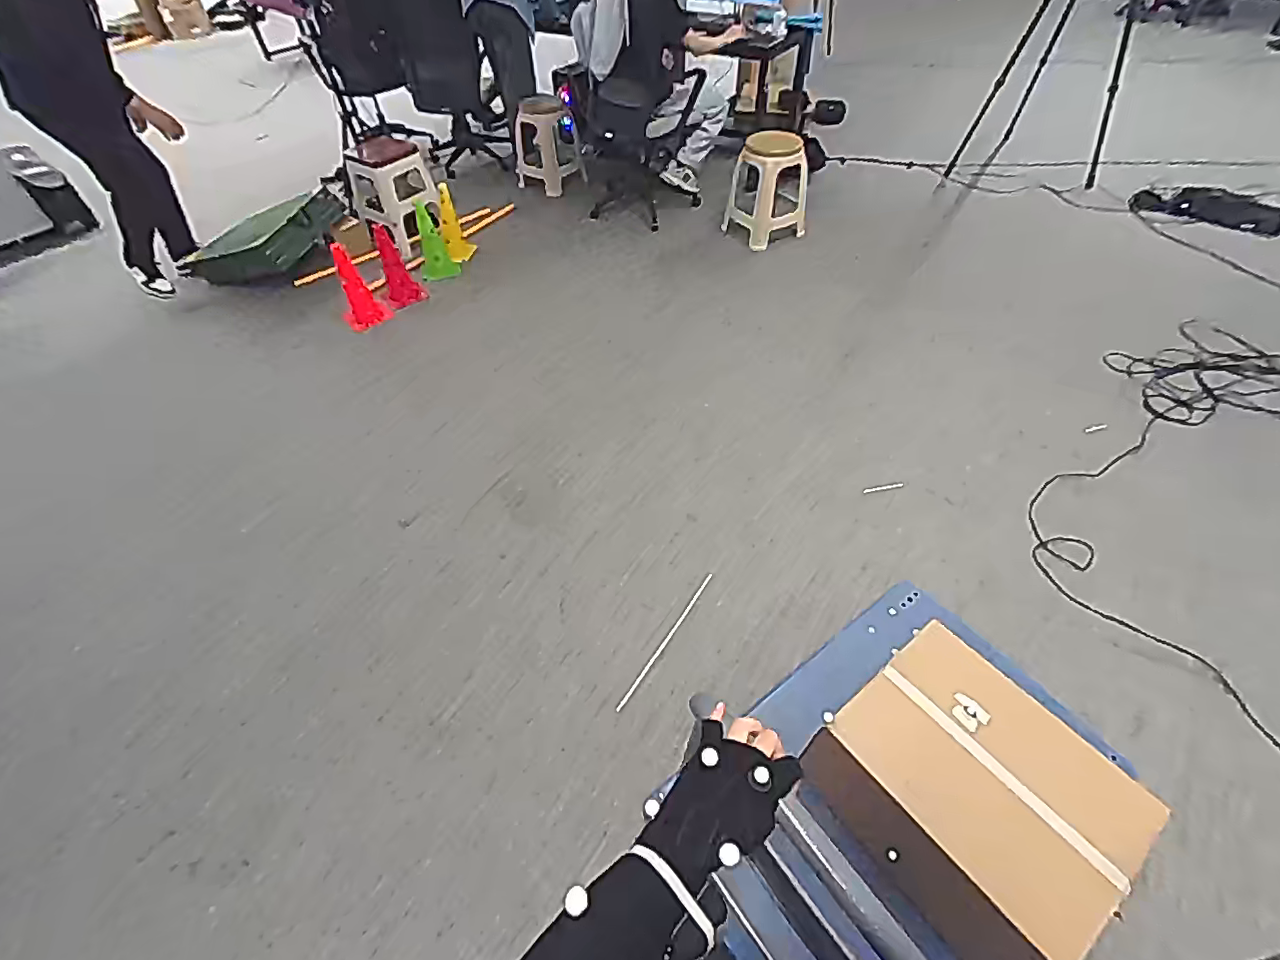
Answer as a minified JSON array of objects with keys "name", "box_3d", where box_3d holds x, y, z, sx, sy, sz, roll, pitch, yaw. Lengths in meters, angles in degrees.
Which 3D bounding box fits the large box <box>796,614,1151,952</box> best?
[{"name":"large box","box_3d":[0.558,0.540,0.995,0.320,0.320,0.408,-32,54,-21]}]
